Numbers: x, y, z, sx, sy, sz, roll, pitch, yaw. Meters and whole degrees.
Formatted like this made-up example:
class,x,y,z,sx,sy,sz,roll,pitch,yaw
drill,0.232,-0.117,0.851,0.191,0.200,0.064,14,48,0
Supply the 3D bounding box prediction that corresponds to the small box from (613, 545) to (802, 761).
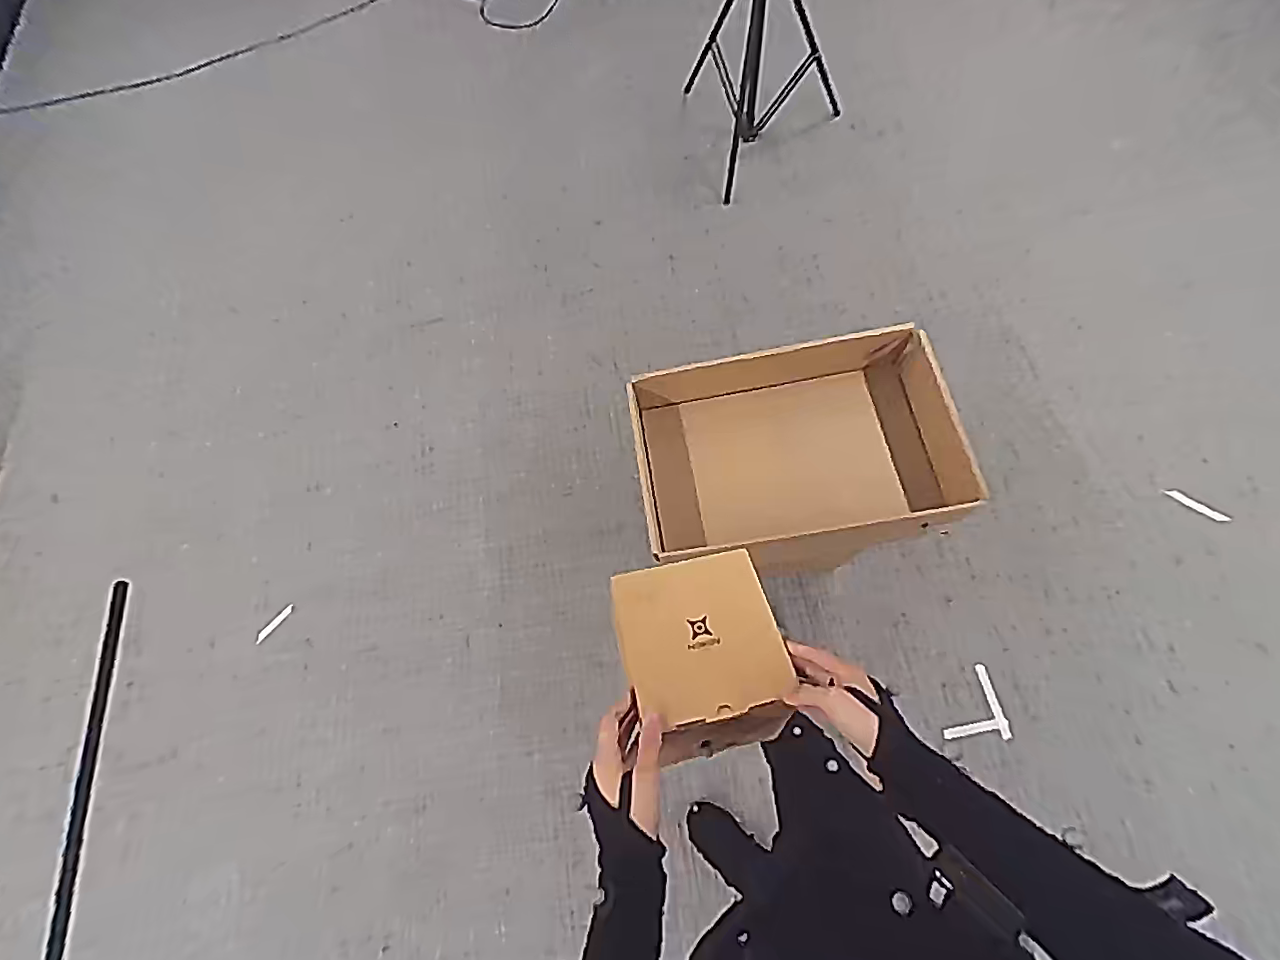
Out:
class,x,y,z,sx,sy,sz,roll,pitch,yaw
small box,0.065,0.206,0.641,0.168,0.176,0.179,-11,52,-8
